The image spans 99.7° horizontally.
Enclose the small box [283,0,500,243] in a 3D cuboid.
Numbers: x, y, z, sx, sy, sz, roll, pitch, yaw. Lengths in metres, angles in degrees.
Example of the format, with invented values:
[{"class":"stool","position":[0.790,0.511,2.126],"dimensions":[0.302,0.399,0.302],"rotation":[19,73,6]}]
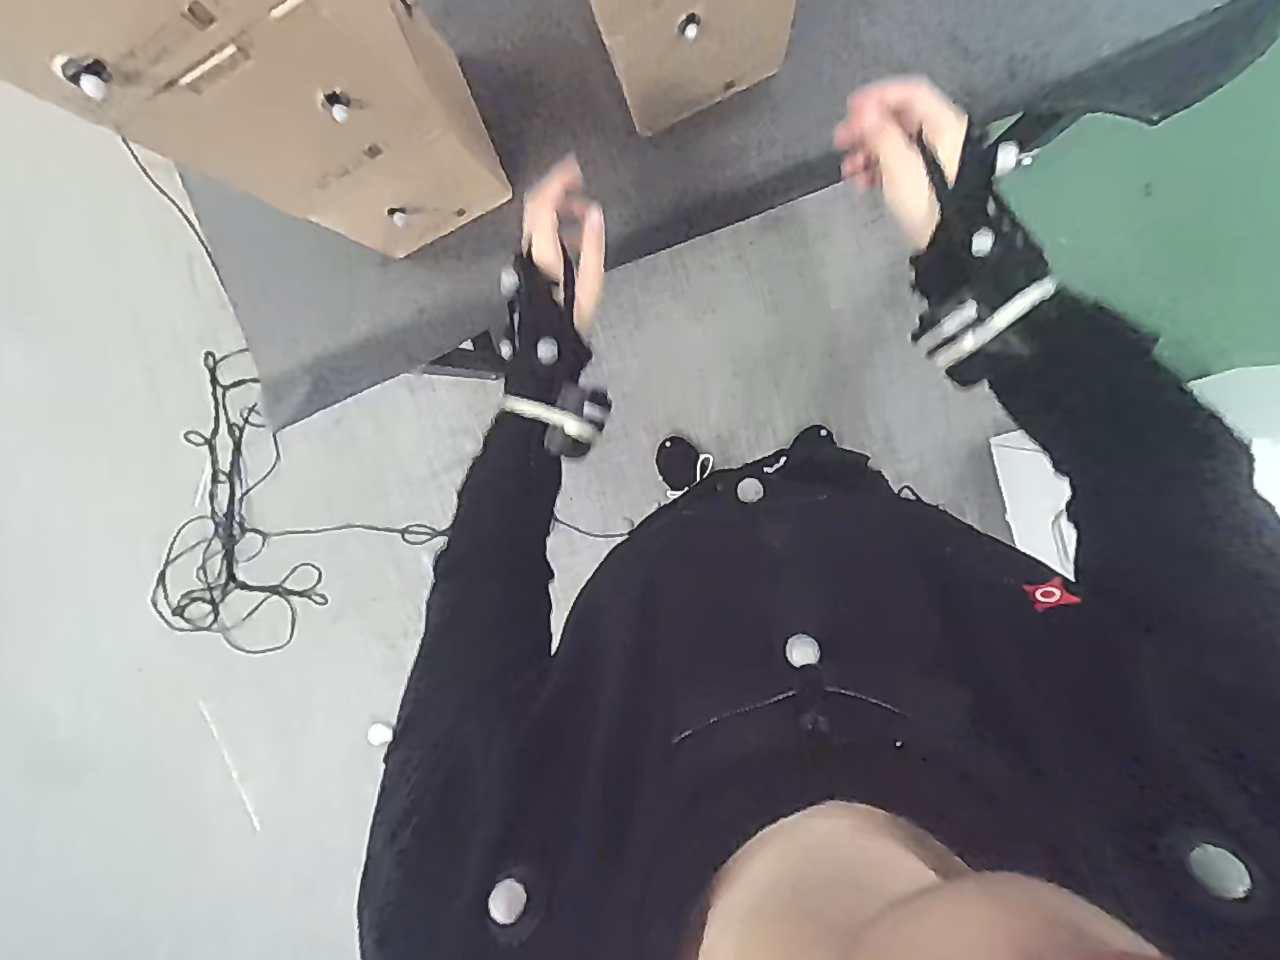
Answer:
[{"class":"small box","position":[-0.270,-0.368,0.557],"dimensions":[0.168,0.176,0.179],"rotation":[-22,95,8]}]

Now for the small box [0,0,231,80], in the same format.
[{"class":"small box","position":[-0.311,-0.323,0.233],"dimensions":[0.168,0.176,0.179],"rotation":[-25,93,9]}]

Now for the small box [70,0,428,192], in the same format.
[{"class":"small box","position":[-0.290,-0.344,0.395],"dimensions":[0.168,0.176,0.179],"rotation":[-23,93,9]}]

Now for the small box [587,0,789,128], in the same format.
[{"class":"small box","position":[0.031,-0.481,0.502],"dimensions":[0.168,0.176,0.179],"rotation":[-21,96,10]}]

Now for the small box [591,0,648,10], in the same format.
[{"class":"small box","position":[0.004,-0.454,0.338],"dimensions":[0.168,0.176,0.179],"rotation":[-21,95,9]}]
